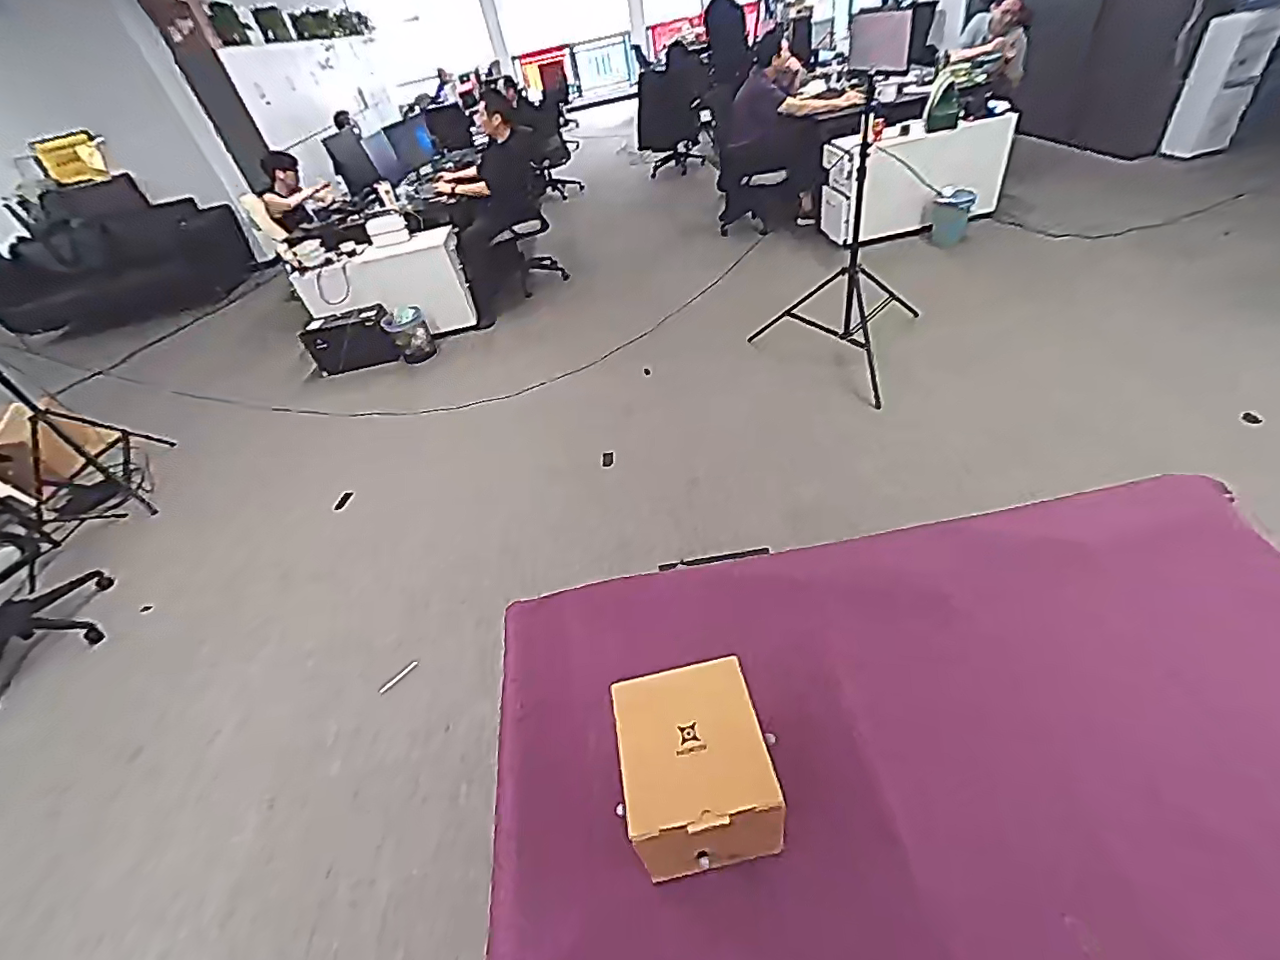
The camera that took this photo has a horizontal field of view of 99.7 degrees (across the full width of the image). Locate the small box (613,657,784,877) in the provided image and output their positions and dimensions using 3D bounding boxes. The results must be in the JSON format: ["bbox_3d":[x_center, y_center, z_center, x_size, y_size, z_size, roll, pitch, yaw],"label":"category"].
[{"bbox_3d":[0.068,0.355,0.674,0.168,0.176,0.179,-13,41,-2],"label":"small box"}]
